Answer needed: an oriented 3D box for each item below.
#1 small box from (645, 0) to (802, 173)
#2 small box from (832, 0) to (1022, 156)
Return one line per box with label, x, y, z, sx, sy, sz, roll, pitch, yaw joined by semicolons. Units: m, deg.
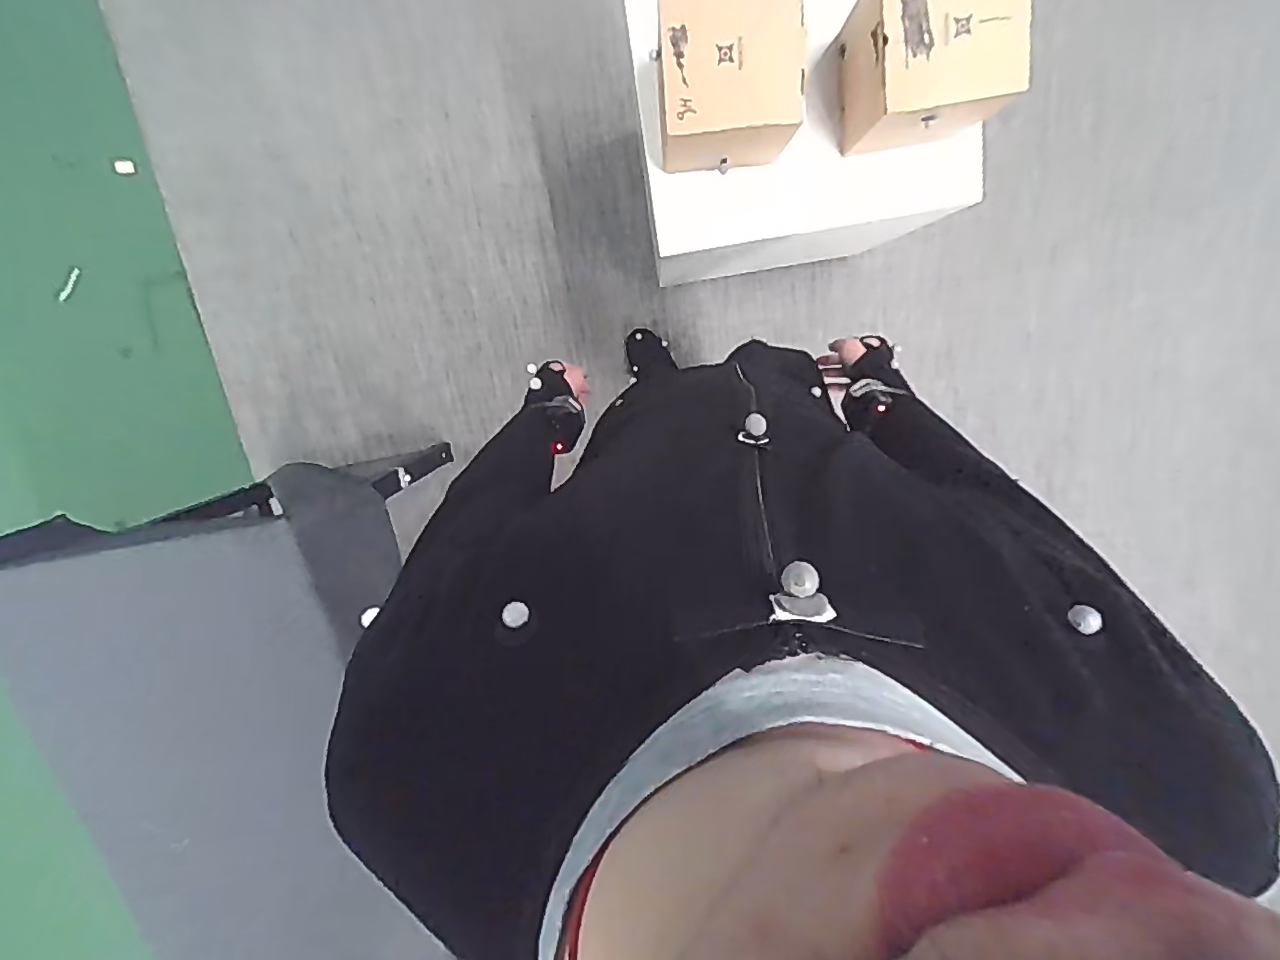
small box;0.103;-0.530;0.725;0.179;0.176;0.168;-5;103;-1
small box;0.369;-0.560;0.724;0.179;0.176;0.168;-9;104;1
